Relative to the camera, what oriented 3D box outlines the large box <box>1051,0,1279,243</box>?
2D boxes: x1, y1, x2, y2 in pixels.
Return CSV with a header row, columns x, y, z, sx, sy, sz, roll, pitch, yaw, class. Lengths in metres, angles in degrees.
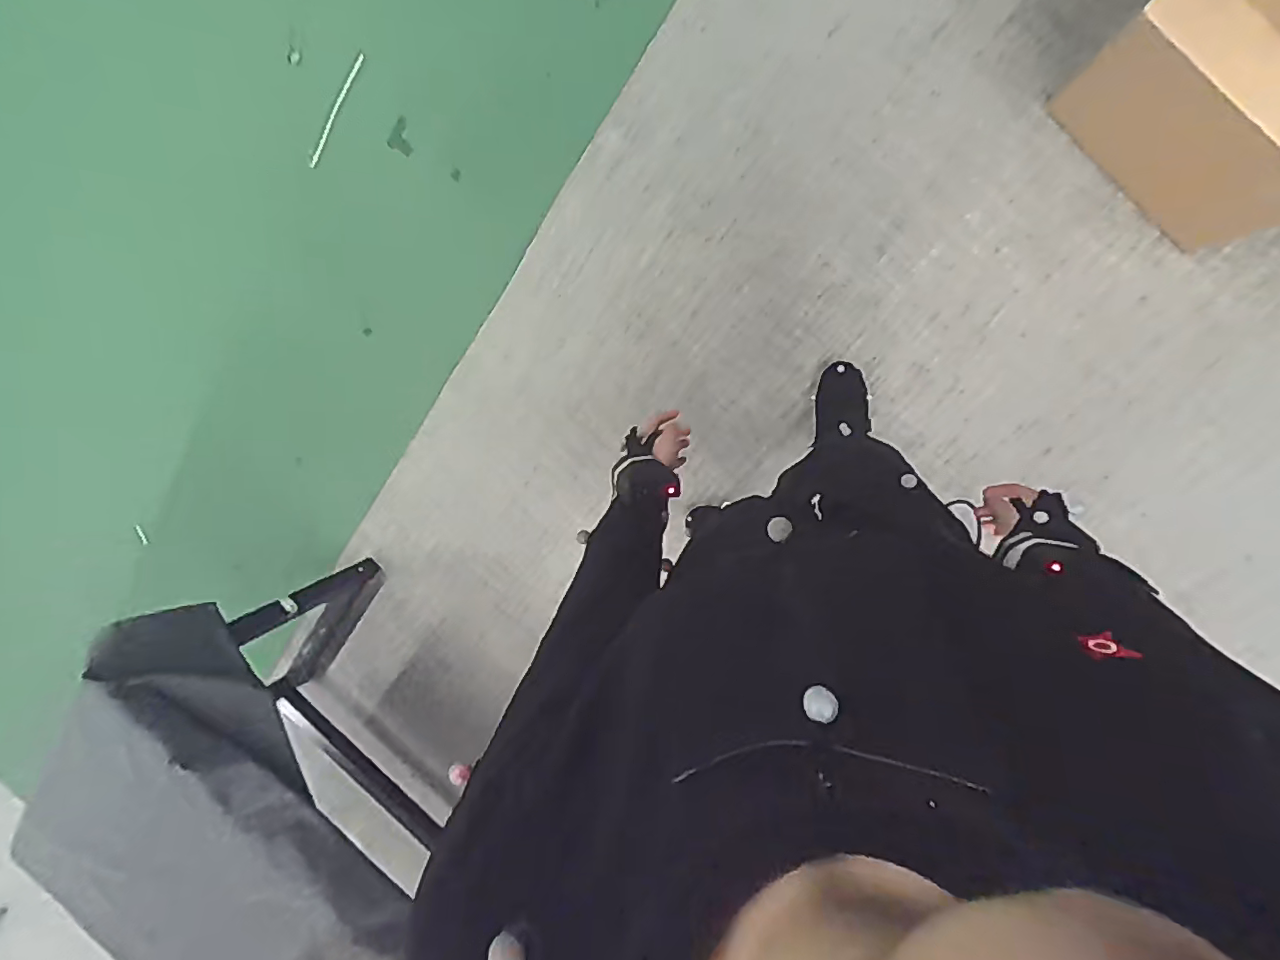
x,y,z,sx,sy,sz,roll,pitch,yaw,class
0.987,-0.659,0.850,0.408,0.320,0.320,46,110,1,large box
